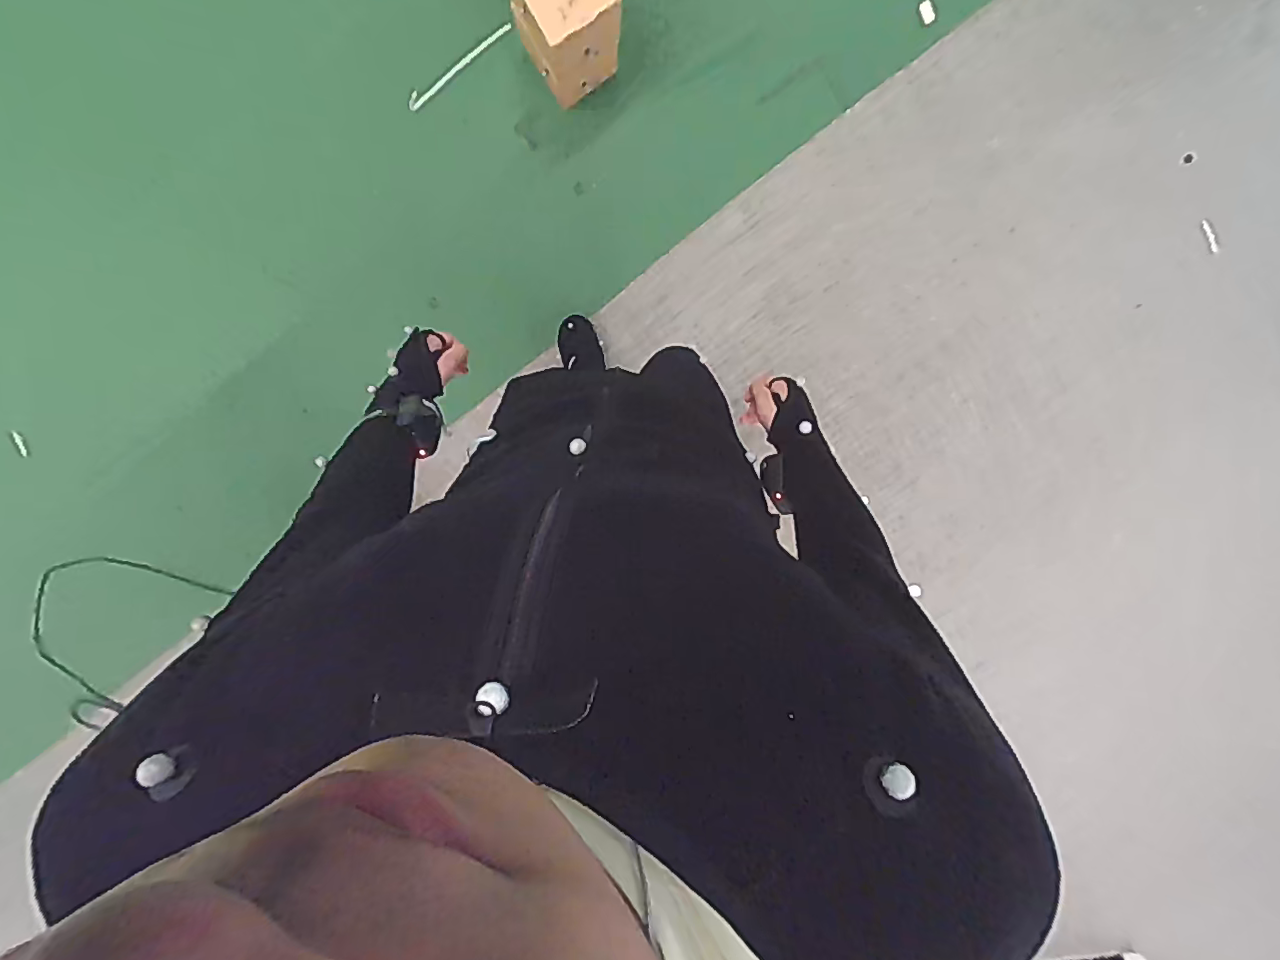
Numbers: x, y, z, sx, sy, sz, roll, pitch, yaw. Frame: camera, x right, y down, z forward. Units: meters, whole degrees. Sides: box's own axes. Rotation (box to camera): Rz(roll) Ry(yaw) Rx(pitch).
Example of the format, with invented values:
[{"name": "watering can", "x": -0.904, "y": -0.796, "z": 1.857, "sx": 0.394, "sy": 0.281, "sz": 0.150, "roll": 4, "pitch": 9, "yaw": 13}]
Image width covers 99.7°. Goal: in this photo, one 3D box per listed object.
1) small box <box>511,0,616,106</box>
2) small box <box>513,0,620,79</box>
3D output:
[{"name": "small box", "x": -0.173, "y": -1.021, "z": 1.251, "sx": 0.168, "sy": 0.176, "sz": 0.179, "roll": -33, "pitch": 106, "yaw": 6}, {"name": "small box", "x": -0.157, "y": -0.973, "z": 1.094, "sx": 0.168, "sy": 0.176, "sz": 0.179, "roll": -31, "pitch": 107, "yaw": 6}]
